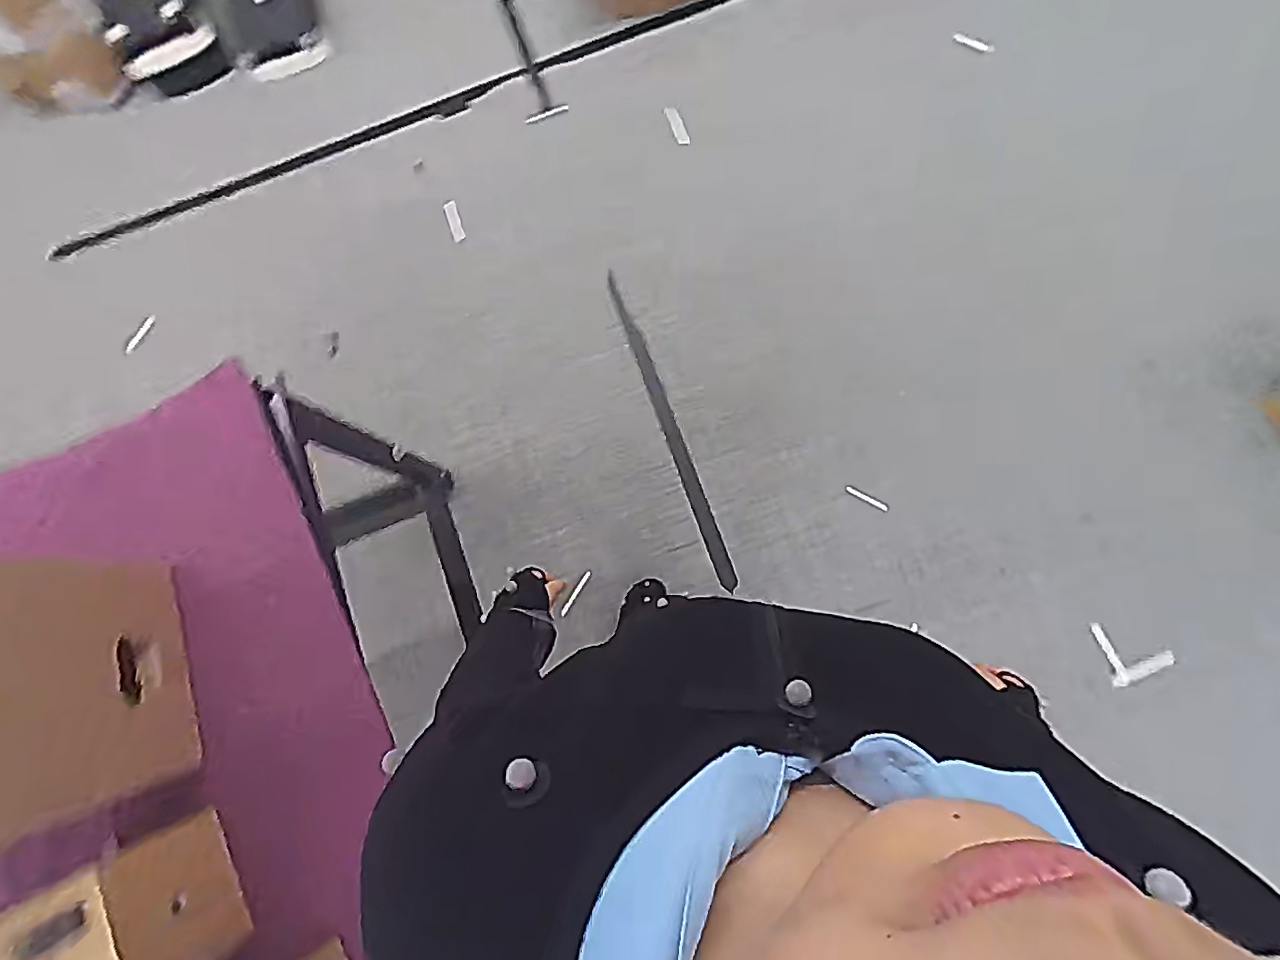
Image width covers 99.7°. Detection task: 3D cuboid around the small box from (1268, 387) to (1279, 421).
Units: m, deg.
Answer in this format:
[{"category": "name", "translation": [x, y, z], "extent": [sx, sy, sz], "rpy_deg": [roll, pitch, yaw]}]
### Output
[{"category": "small box", "translation": [1.819, -0.206, 1.404], "extent": [0.179, 0.176, 0.168], "rpy_deg": [-23, 78, -2]}]
